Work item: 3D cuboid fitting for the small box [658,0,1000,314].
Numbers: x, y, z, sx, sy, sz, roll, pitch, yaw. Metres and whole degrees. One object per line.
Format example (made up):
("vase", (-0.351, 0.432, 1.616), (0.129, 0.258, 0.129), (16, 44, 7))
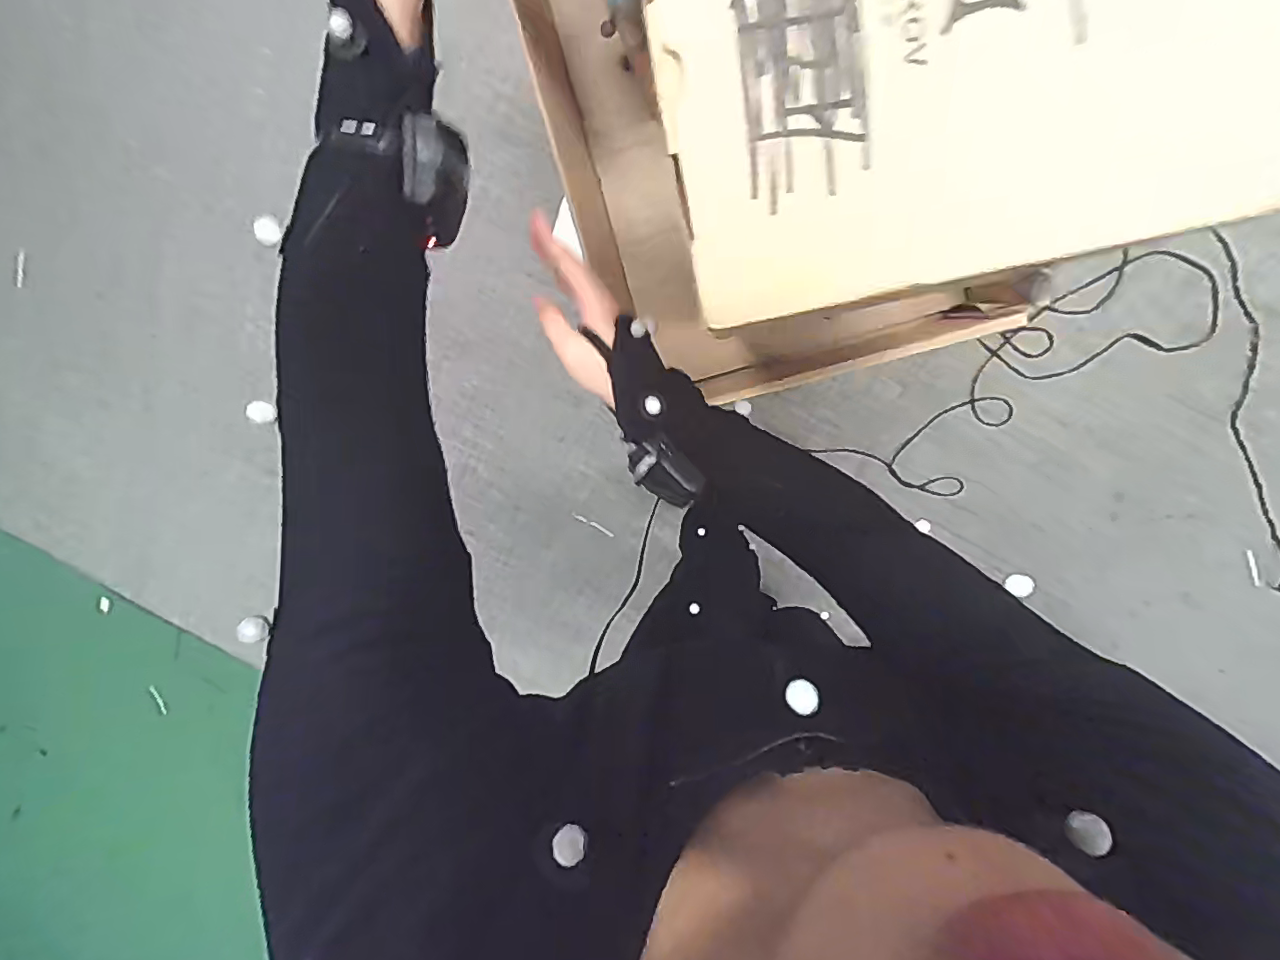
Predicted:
("small box", (0.125, -0.228, 0.397), (0.179, 0.176, 0.168), (-12, 101, 14))

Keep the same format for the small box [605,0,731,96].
("small box", (0.038, -0.505, 0.509), (0.168, 0.176, 0.179), (-23, 102, 14))

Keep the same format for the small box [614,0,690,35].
("small box", (0.007, -0.464, 0.354), (0.179, 0.176, 0.168), (-40, 94, 19))
